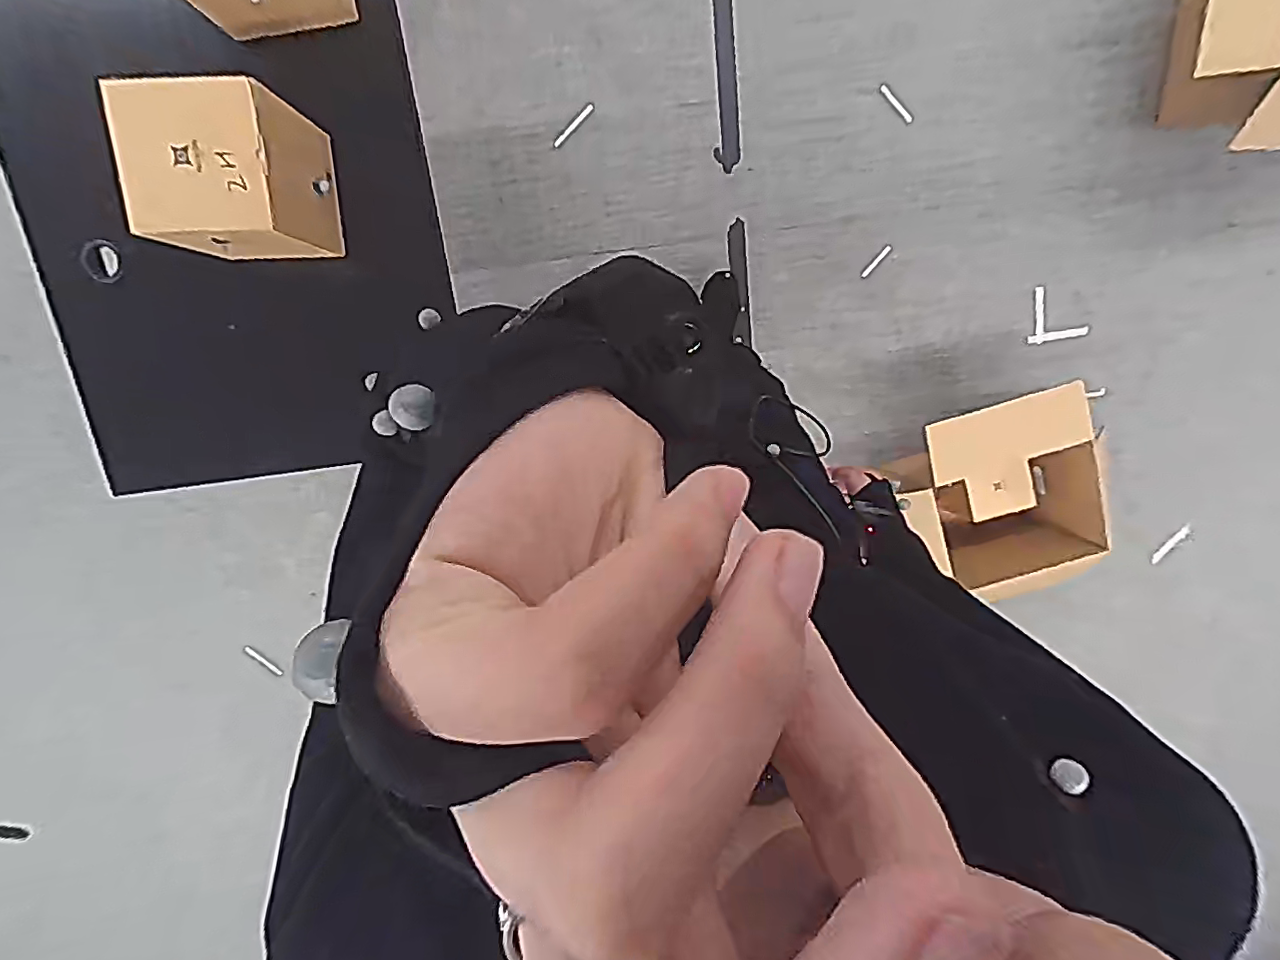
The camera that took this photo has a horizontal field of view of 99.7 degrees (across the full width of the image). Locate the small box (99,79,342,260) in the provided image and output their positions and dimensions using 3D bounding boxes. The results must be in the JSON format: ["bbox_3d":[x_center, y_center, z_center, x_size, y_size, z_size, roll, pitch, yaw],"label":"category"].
[{"bbox_3d":[-0.529,-0.390,0.709,0.179,0.176,0.168,-2,103,0],"label":"small box"}]
